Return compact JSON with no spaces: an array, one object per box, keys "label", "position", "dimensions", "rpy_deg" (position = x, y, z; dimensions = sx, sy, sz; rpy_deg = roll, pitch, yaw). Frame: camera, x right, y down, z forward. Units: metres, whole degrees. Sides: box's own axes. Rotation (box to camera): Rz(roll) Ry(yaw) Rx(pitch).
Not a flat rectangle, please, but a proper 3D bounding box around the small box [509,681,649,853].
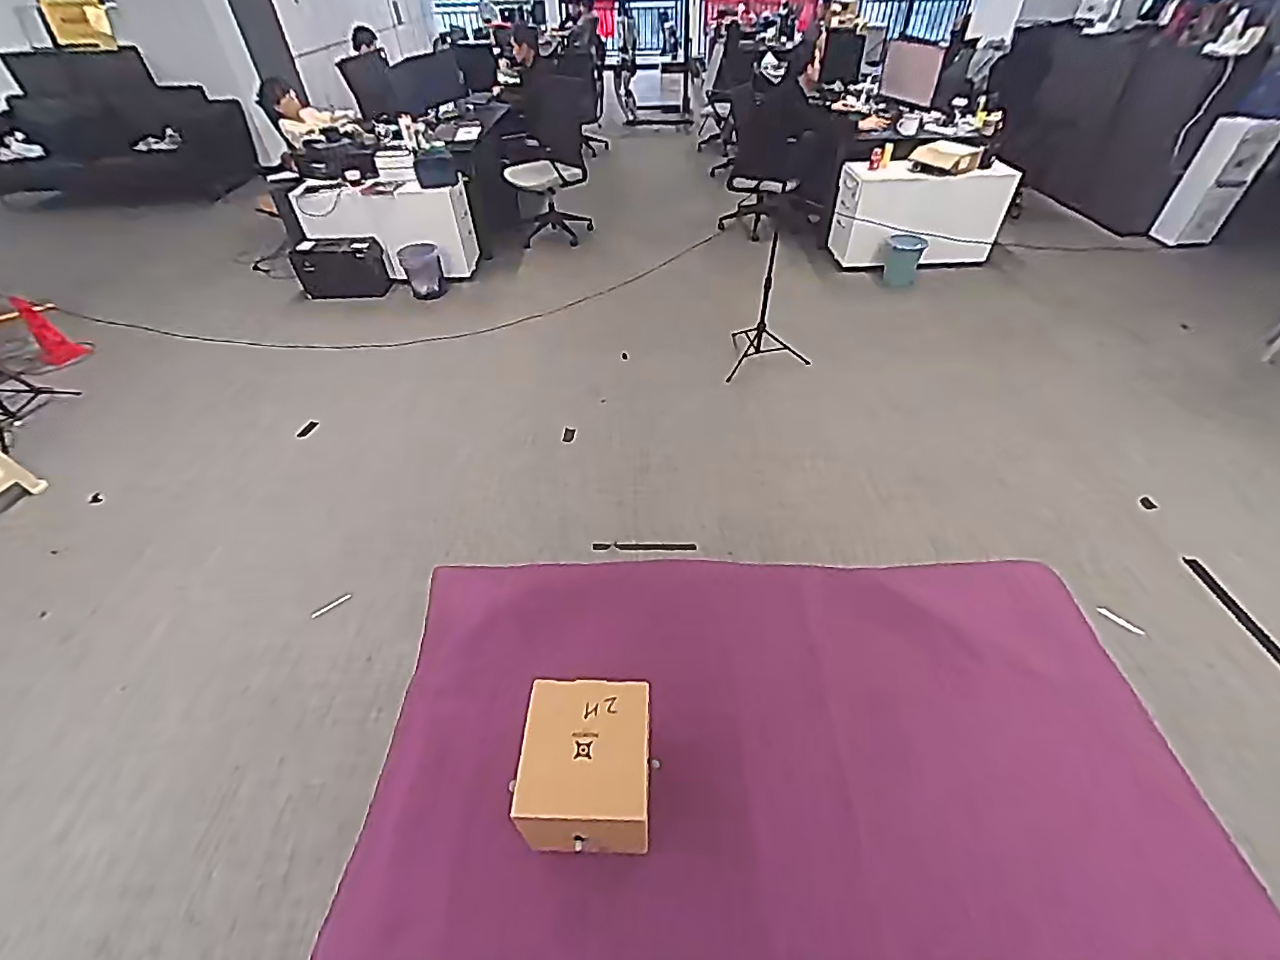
[{"label":"small box","position":[-0.072,0.405,0.760],"dimensions":[0.168,0.176,0.179],"rpy_deg":[1,44,2]}]
